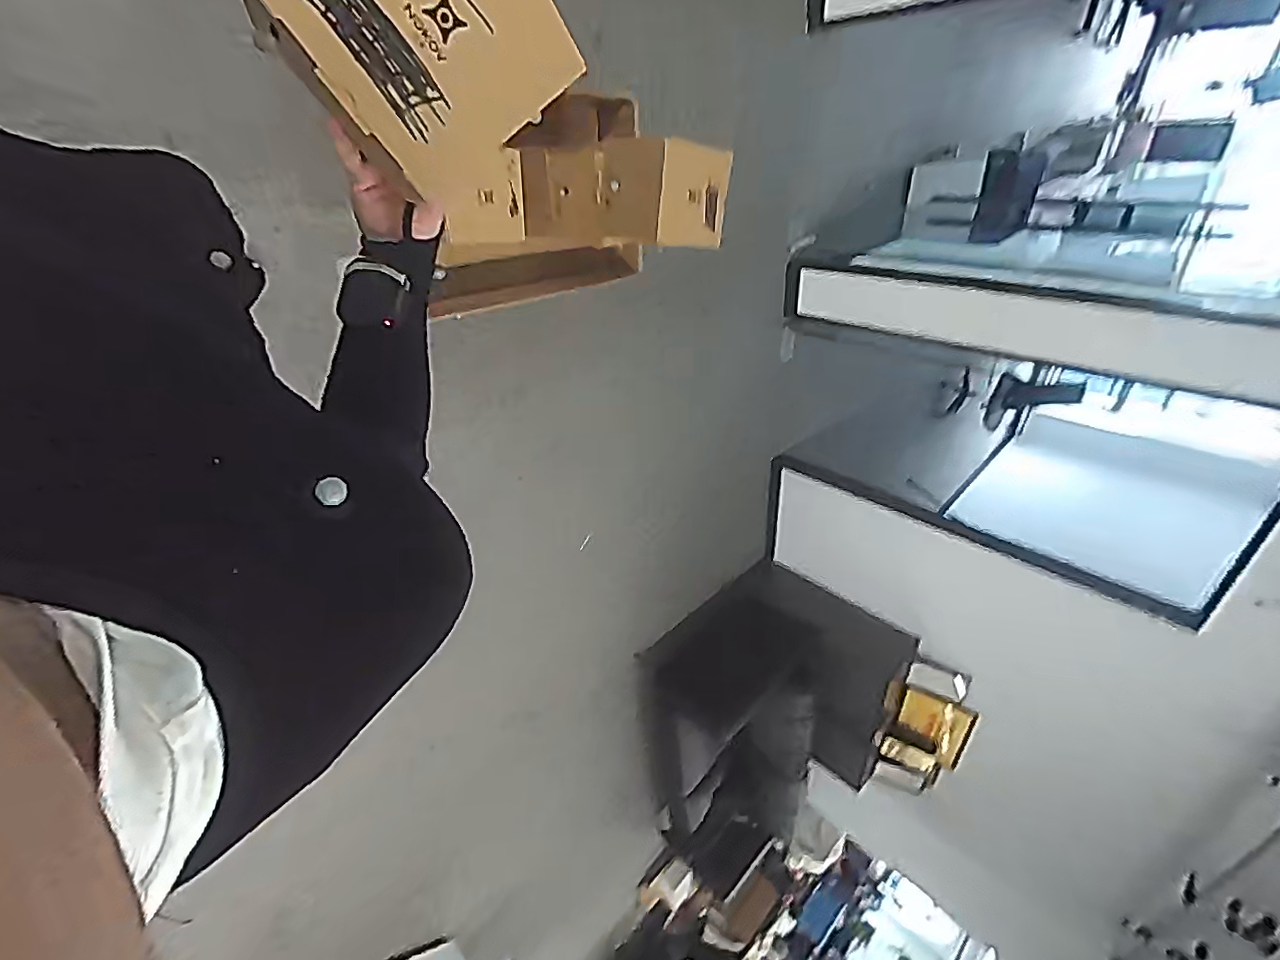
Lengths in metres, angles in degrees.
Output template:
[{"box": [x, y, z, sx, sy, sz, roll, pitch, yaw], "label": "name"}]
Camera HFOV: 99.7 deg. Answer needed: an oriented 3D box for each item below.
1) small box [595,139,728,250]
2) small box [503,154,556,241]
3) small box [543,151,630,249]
[{"box": [0.037, -0.537, 1.025, 0.179, 0.176, 0.168, -17, 123, -39], "label": "small box"}, {"box": [-0.186, -0.649, 1.235, 0.179, 0.176, 0.168, -27, 128, -34], "label": "small box"}, {"box": [-0.077, -0.590, 1.129, 0.179, 0.176, 0.168, -27, 129, -34], "label": "small box"}]
